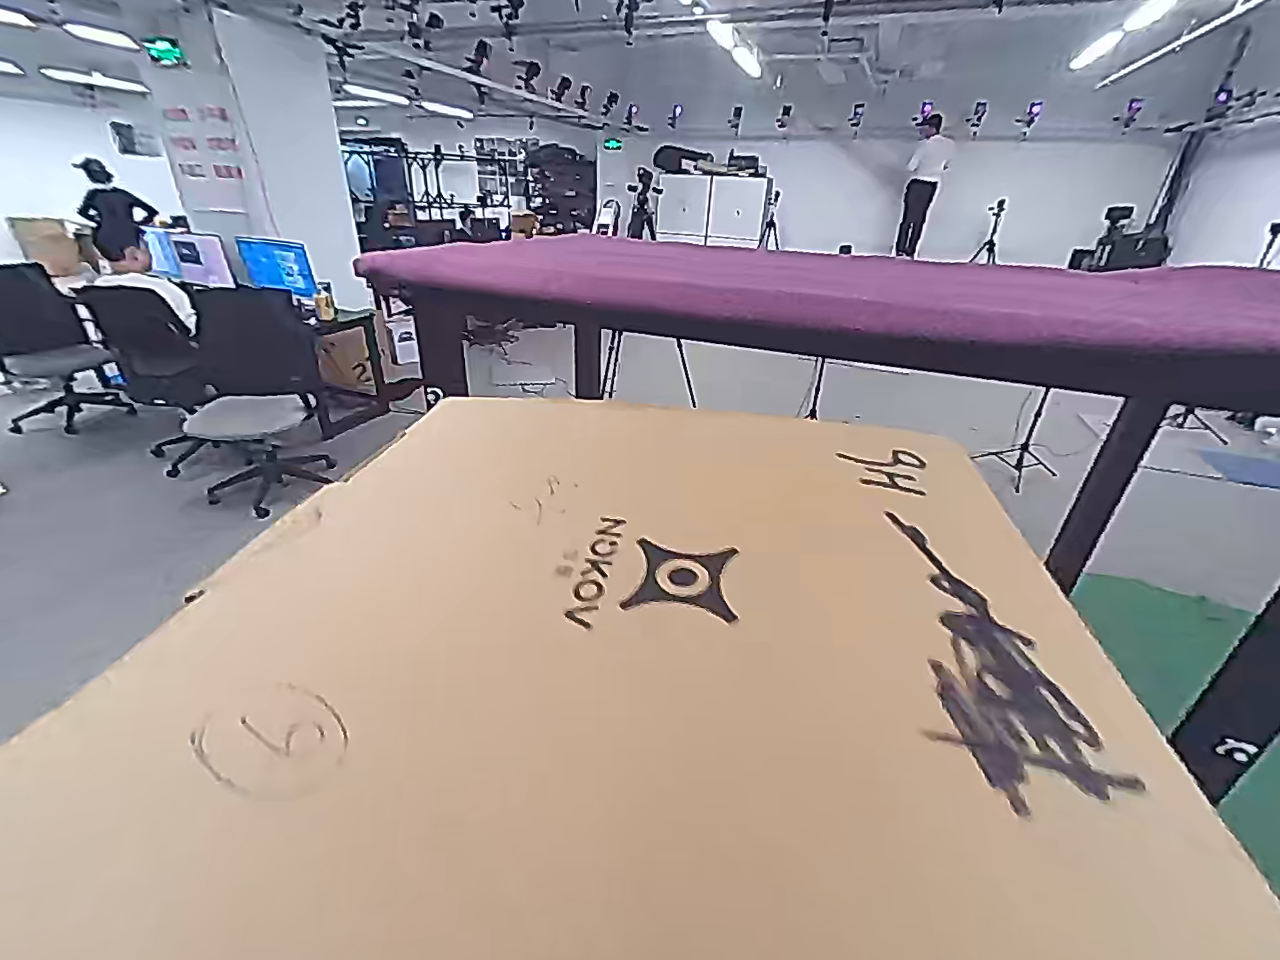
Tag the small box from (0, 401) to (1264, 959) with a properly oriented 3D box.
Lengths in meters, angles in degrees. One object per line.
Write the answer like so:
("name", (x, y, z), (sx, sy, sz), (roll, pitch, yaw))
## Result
("small box", (-0.003, 0.088, 0.166), (0.179, 0.176, 0.168), (5, 32, 8))
